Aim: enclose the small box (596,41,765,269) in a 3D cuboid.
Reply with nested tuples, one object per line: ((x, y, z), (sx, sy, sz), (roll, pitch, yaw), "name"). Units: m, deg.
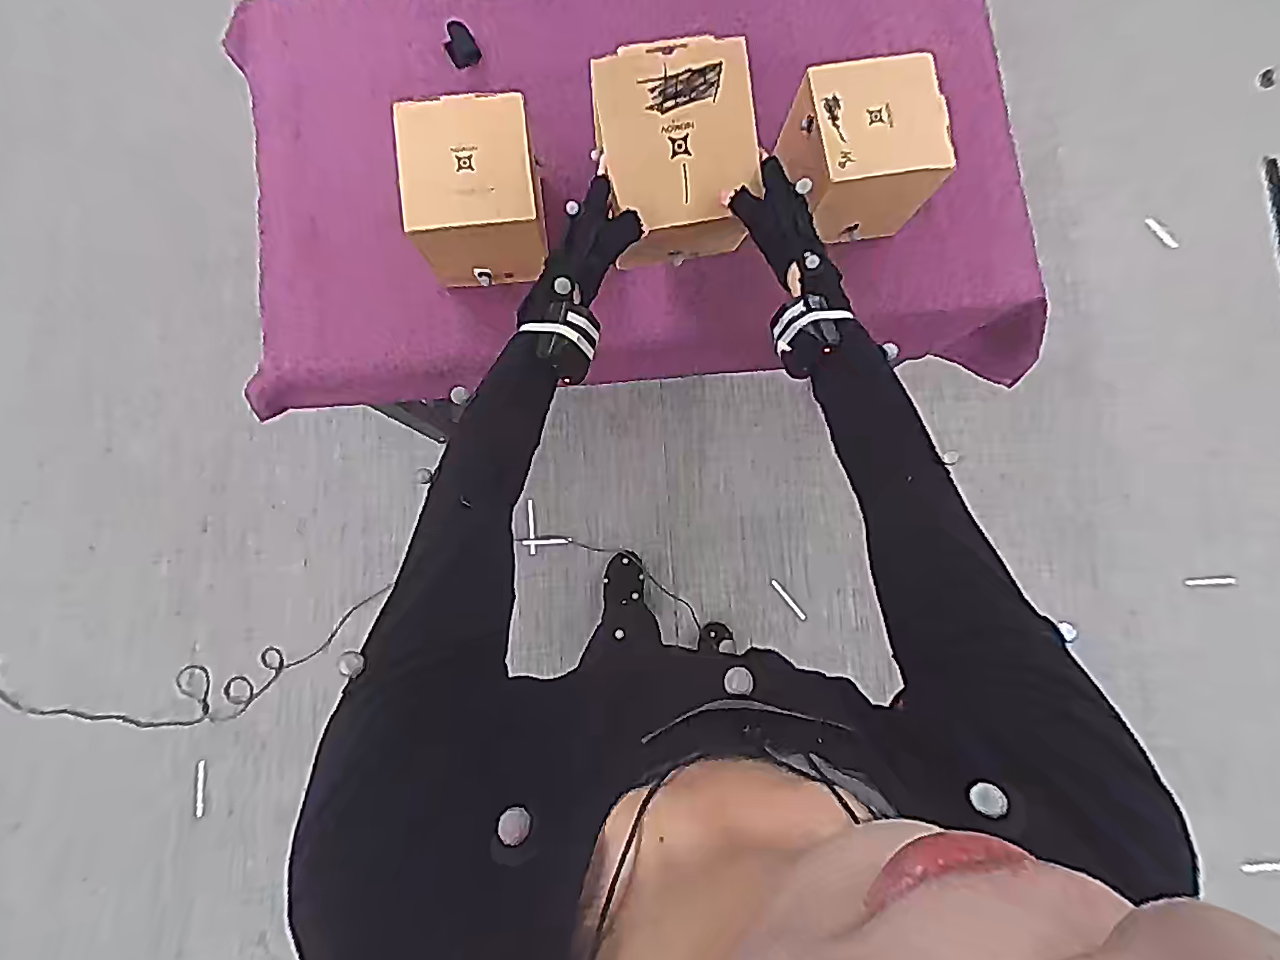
((0.041, -0.374, 0.653), (0.168, 0.176, 0.179), (-9, 99, -1), "small box")

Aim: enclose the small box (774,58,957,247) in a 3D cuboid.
((0.316, -0.465, 0.789), (0.179, 0.176, 0.168), (-9, 84, -4), "small box")

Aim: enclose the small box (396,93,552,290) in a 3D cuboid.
((-0.220, -0.390, 0.753), (0.168, 0.176, 0.179), (-7, 85, -3), "small box")
